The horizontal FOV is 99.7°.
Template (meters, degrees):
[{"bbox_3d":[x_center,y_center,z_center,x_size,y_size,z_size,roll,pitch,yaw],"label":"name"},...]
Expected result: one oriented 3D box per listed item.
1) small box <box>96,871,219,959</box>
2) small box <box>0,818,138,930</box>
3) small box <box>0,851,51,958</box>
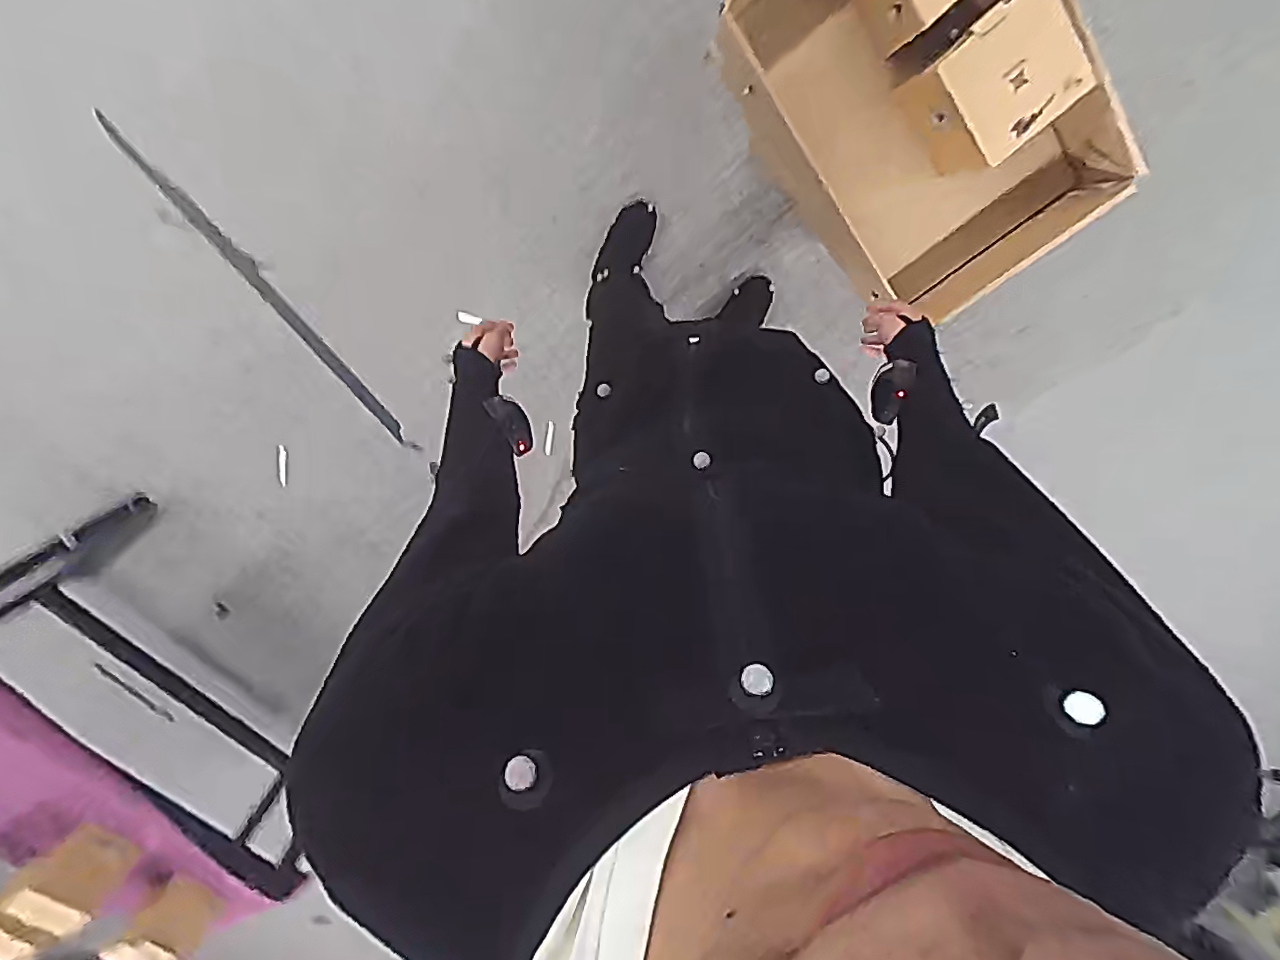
[{"bbox_3d":[-1.355,1.253,1.535,0.179,0.176,0.168,-33,110,20],"label":"small box"},{"bbox_3d":[-1.513,1.048,1.444,0.179,0.176,0.168,-36,110,20],"label":"small box"},{"bbox_3d":[-1.739,1.196,1.529,0.179,0.176,0.168,-29,111,16],"label":"small box"}]
